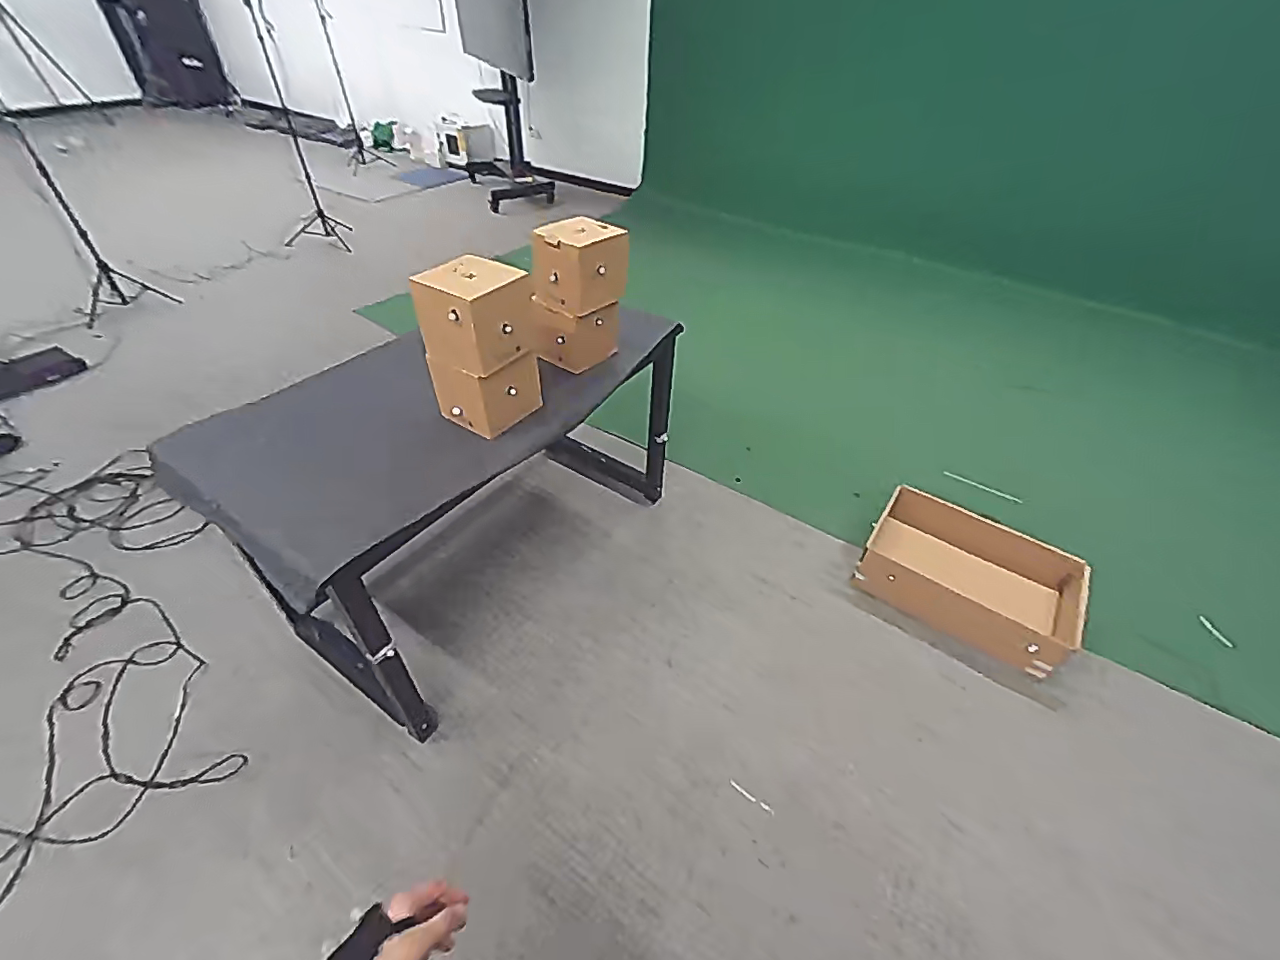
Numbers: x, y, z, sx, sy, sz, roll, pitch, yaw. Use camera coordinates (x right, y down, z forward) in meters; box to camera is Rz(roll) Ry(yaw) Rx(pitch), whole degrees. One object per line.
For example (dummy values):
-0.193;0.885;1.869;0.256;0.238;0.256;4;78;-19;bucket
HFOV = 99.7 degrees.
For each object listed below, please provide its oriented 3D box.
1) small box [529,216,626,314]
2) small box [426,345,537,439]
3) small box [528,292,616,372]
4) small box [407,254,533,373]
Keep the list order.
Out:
-0.149;-0.535;1.346;0.168;0.176;0.179;31;50;27;small box
-0.351;-0.224;1.234;0.168;0.176;0.179;25;48;24;small box
-0.176;-0.414;1.456;0.168;0.176;0.179;29;47;25;small box
-0.341;-0.342;1.119;0.179;0.176;0.168;24;47;23;small box
